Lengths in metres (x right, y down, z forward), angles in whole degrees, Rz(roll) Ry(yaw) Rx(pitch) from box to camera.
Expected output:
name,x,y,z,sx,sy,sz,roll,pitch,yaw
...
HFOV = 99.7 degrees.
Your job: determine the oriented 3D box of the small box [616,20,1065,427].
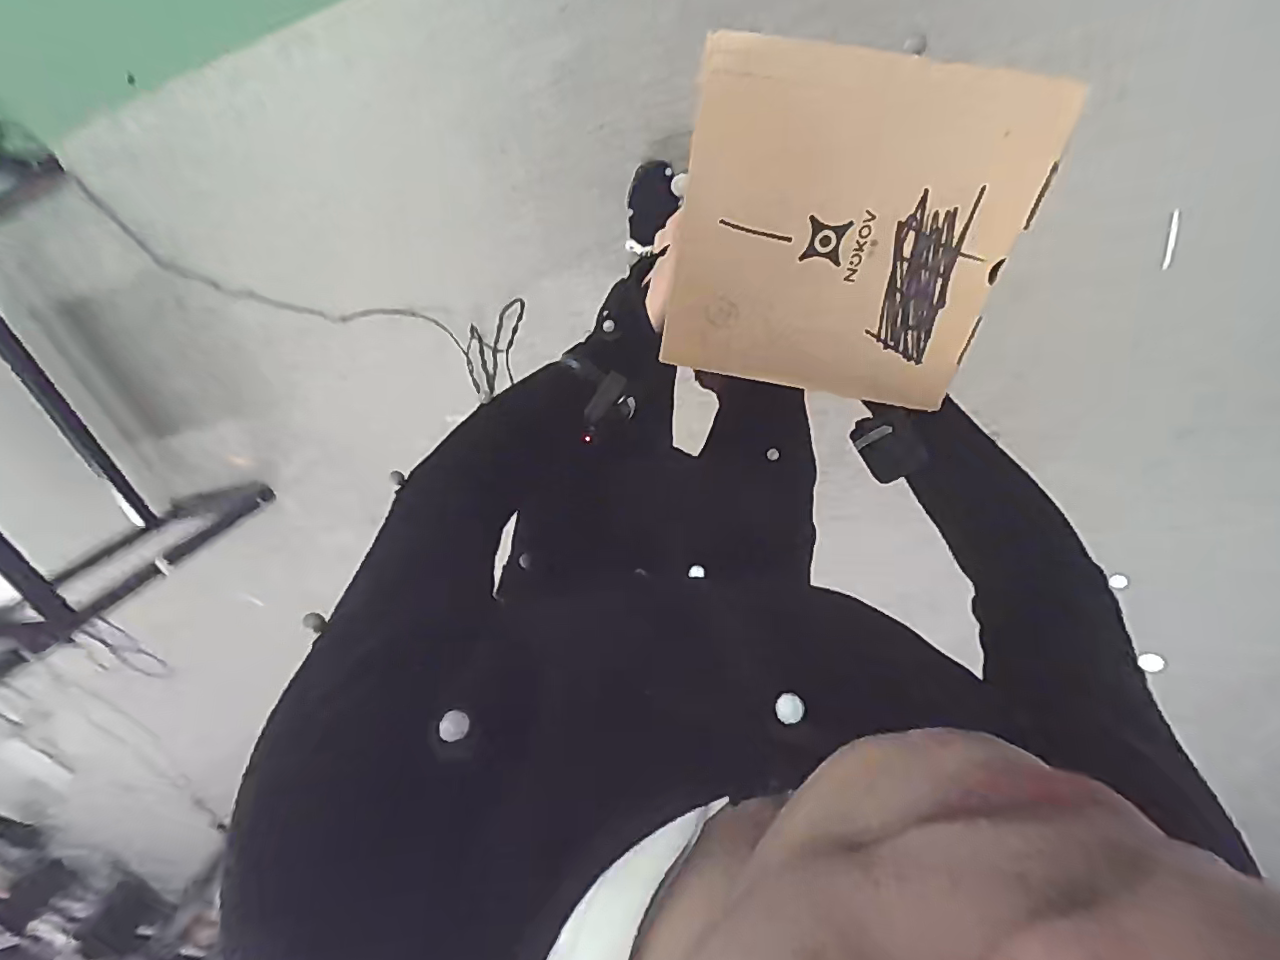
name,x,y,z,sx,sy,sz,roll,pitch,yaw
small box,0.094,-0.157,0.338,0.179,0.176,0.168,12,124,2
